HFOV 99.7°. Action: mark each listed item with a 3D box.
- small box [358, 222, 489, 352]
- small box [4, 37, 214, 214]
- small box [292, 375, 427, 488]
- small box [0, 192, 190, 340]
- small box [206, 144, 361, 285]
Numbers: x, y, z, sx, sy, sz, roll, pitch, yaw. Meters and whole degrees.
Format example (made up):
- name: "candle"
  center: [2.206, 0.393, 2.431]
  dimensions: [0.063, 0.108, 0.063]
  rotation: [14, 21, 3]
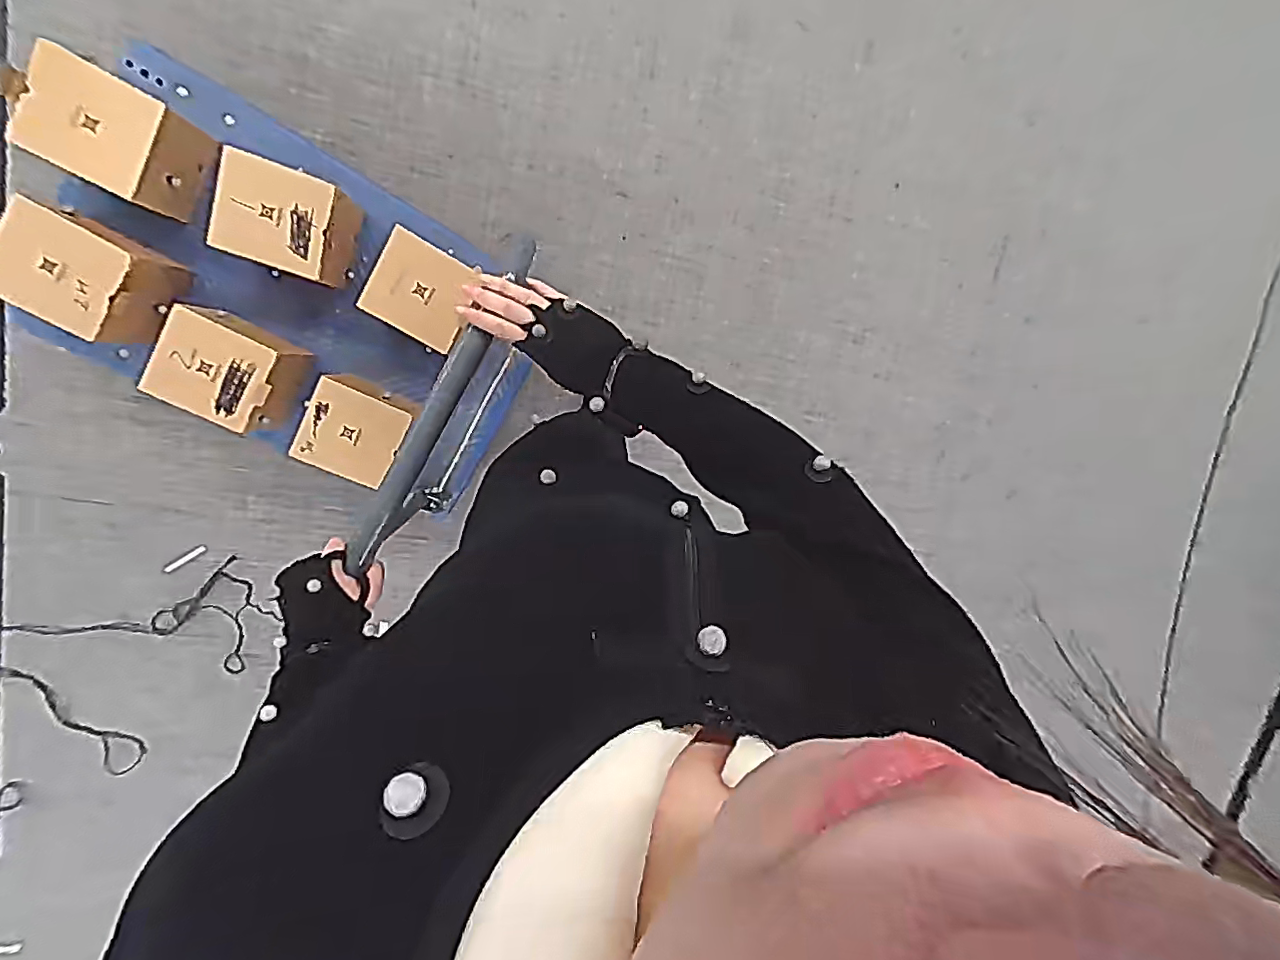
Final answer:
- name: "small box"
  center: [-0.411, -0.369, 1.063]
  dimensions: [0.179, 0.176, 0.168]
  rotation: [28, 95, -16]
- name: "small box"
  center: [-0.876, -0.576, 0.914]
  dimensions: [0.179, 0.176, 0.168]
  rotation: [24, 97, -16]
- name: "small box"
  center: [-0.551, -0.107, 1.091]
  dimensions: [0.179, 0.176, 0.168]
  rotation: [24, 96, -16]
- name: "small box"
  center: [-0.957, -0.357, 0.946]
  dimensions: [0.179, 0.176, 0.168]
  rotation: [29, 96, -18]
- name: "small box"
  center: [-0.637, -0.469, 0.989]
  dimensions: [0.179, 0.176, 0.168]
  rotation: [16, 99, -14]
